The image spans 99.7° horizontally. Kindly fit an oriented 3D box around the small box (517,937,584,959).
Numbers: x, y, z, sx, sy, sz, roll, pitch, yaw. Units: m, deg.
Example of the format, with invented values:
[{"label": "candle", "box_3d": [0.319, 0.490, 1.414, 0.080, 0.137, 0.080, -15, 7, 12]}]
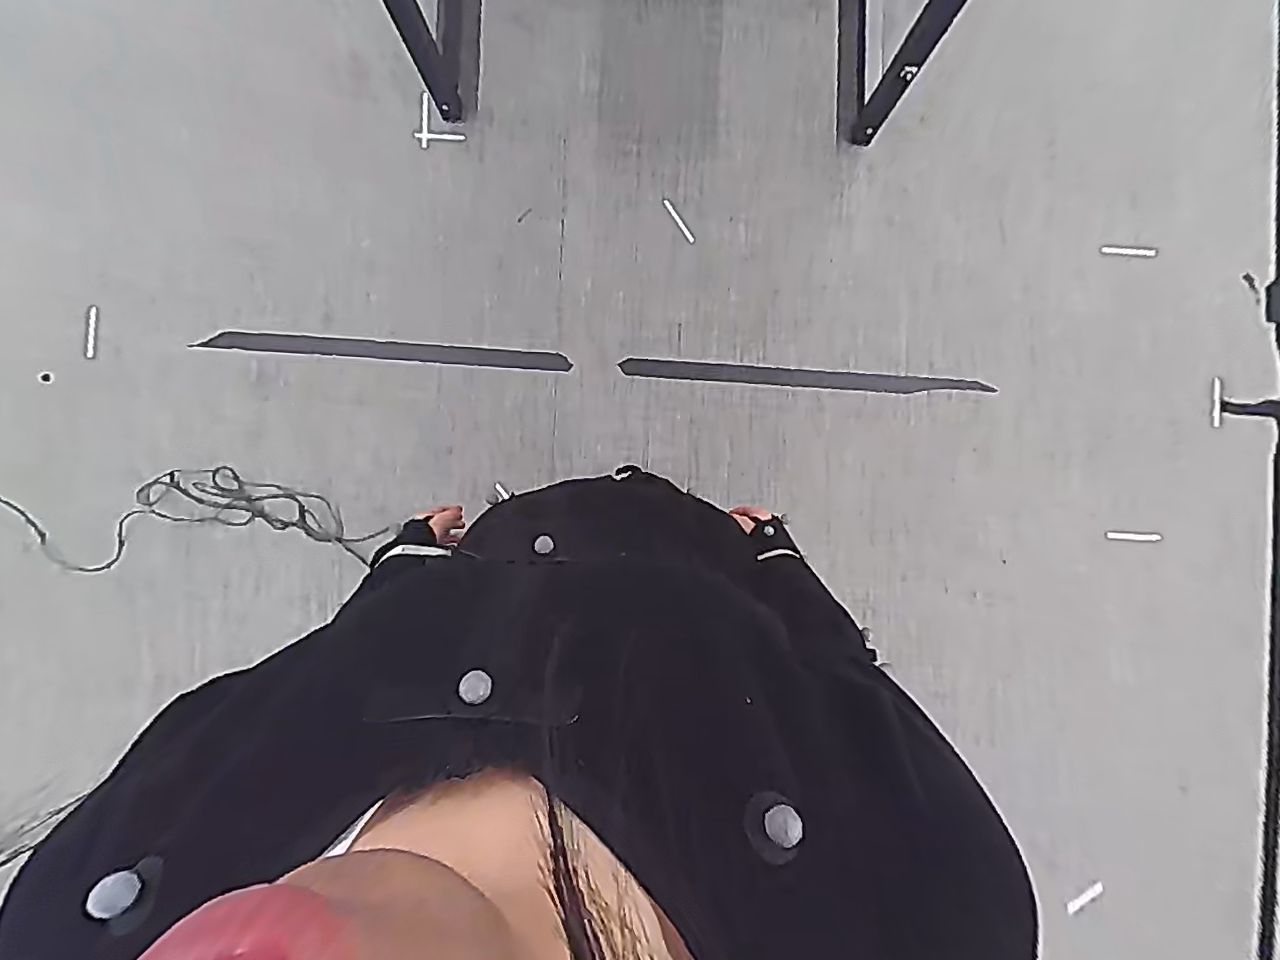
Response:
[{"label": "small box", "box_3d": [-0.240, 1.333, 1.398, 0.179, 0.176, 0.168, -2, 89, -2]}]
